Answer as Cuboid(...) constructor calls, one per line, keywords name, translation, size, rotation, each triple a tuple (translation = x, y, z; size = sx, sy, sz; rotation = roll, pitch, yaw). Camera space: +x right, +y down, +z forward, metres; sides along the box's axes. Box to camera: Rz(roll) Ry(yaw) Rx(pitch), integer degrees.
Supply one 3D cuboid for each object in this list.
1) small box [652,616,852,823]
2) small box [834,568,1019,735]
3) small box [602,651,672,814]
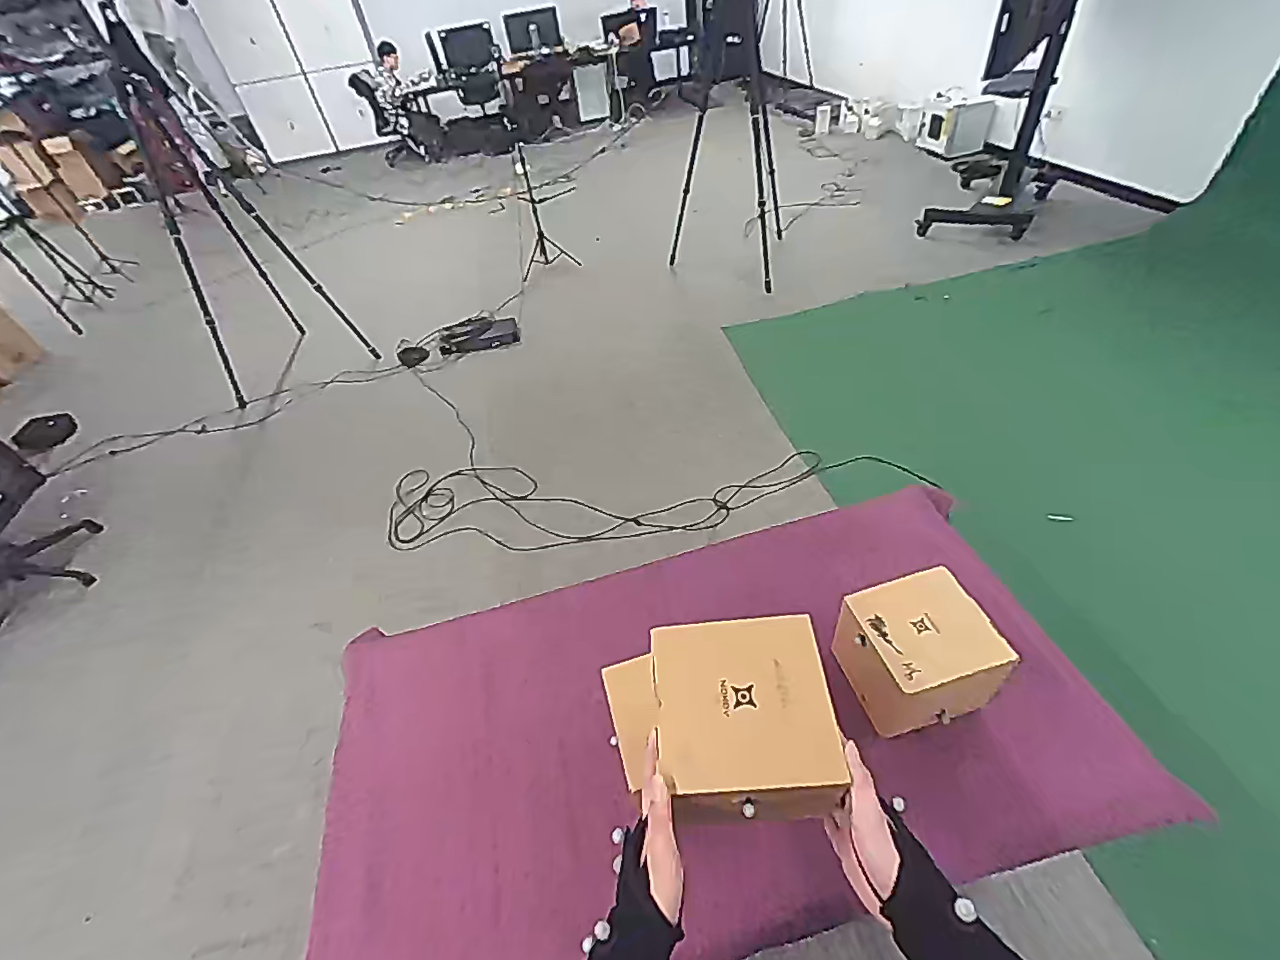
Cuboid(name="small box", translation=(0.111, 0.266, 0.590), size=(0.179, 0.176, 0.168), rotation=(-5, 50, 5))
Cuboid(name="small box", translation=(0.428, 0.268, 0.844), size=(0.179, 0.176, 0.168), rotation=(-15, 45, -5))
Cuboid(name="small box", translation=(0.052, 0.369, 0.805), size=(0.168, 0.176, 0.179), rotation=(-16, 44, -7))
